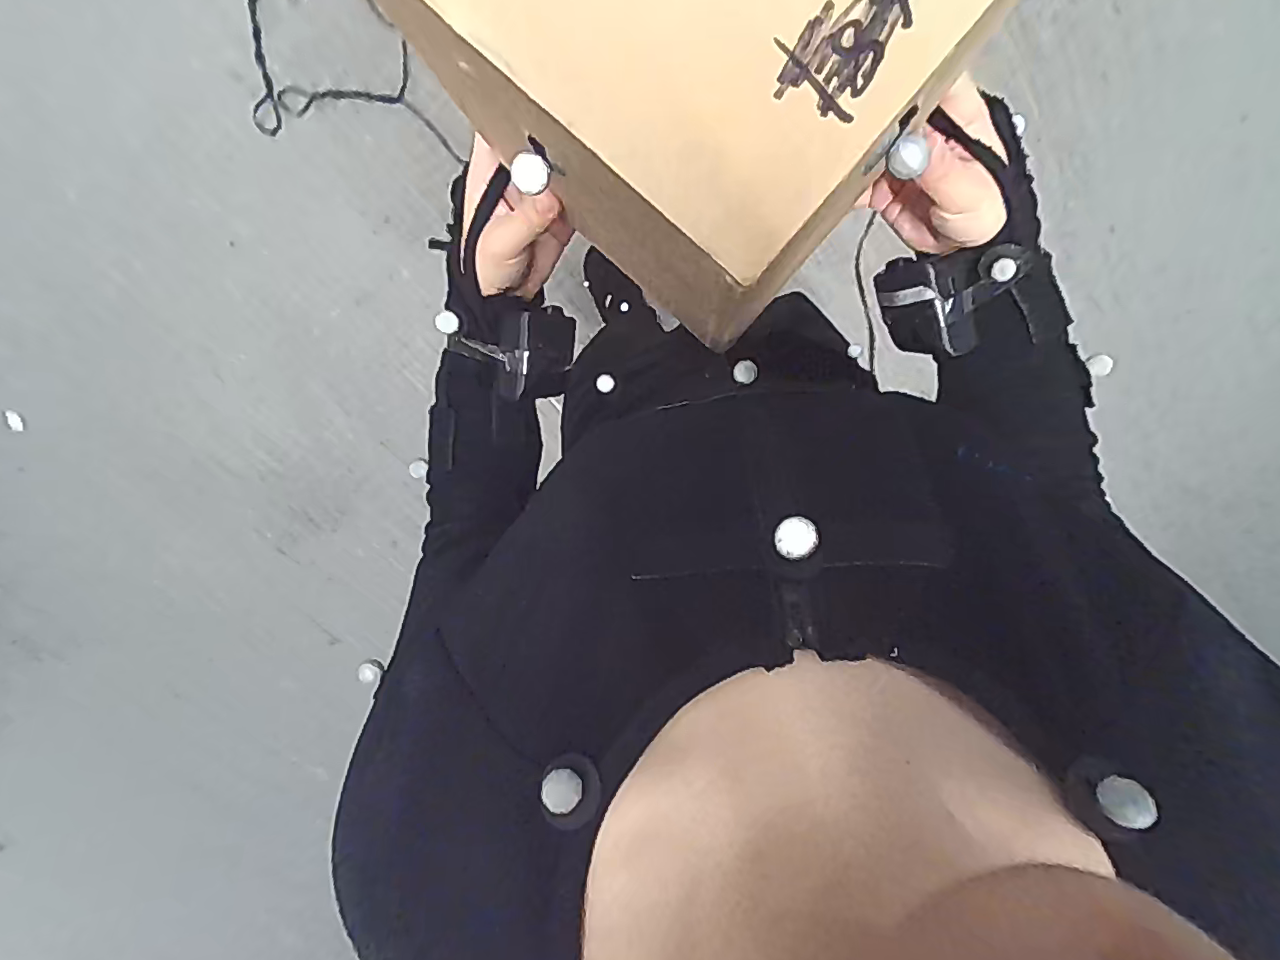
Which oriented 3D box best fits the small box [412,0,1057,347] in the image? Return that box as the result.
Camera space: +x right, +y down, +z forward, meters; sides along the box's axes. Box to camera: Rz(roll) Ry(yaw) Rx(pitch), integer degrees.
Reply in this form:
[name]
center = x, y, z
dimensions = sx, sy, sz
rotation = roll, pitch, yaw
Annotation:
[small box]
center = 0.036, -0.177, 0.230
dimensions = 0.179, 0.176, 0.168
rotation = 42, 99, 0
